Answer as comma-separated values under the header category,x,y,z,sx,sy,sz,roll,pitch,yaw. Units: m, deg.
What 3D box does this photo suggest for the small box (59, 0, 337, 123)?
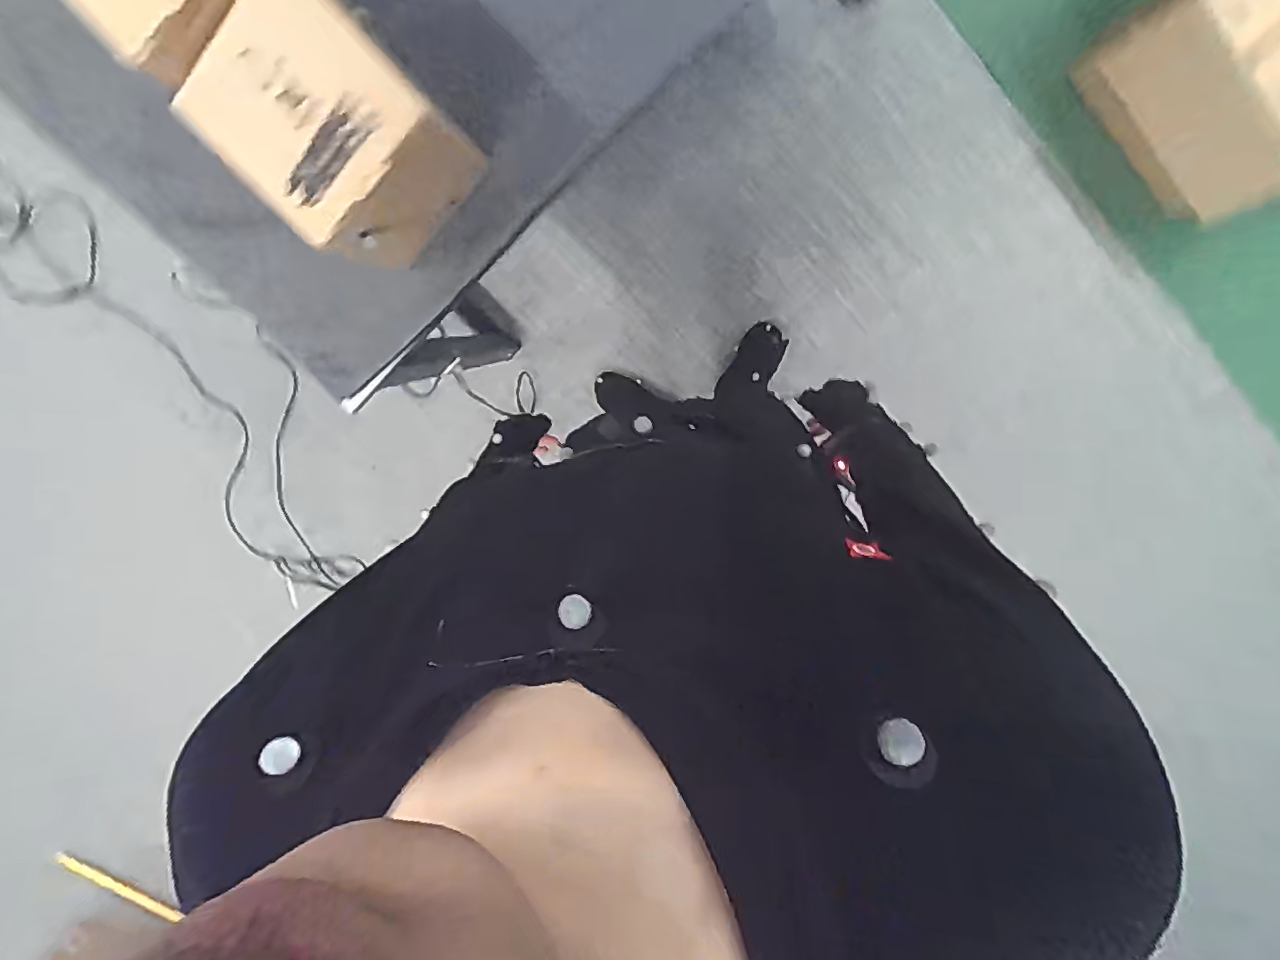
category,x,y,z,sx,sy,sz,roll,pitch,yaw
small box,-0.451,-0.500,0.528,0.168,0.176,0.179,-42,101,13
